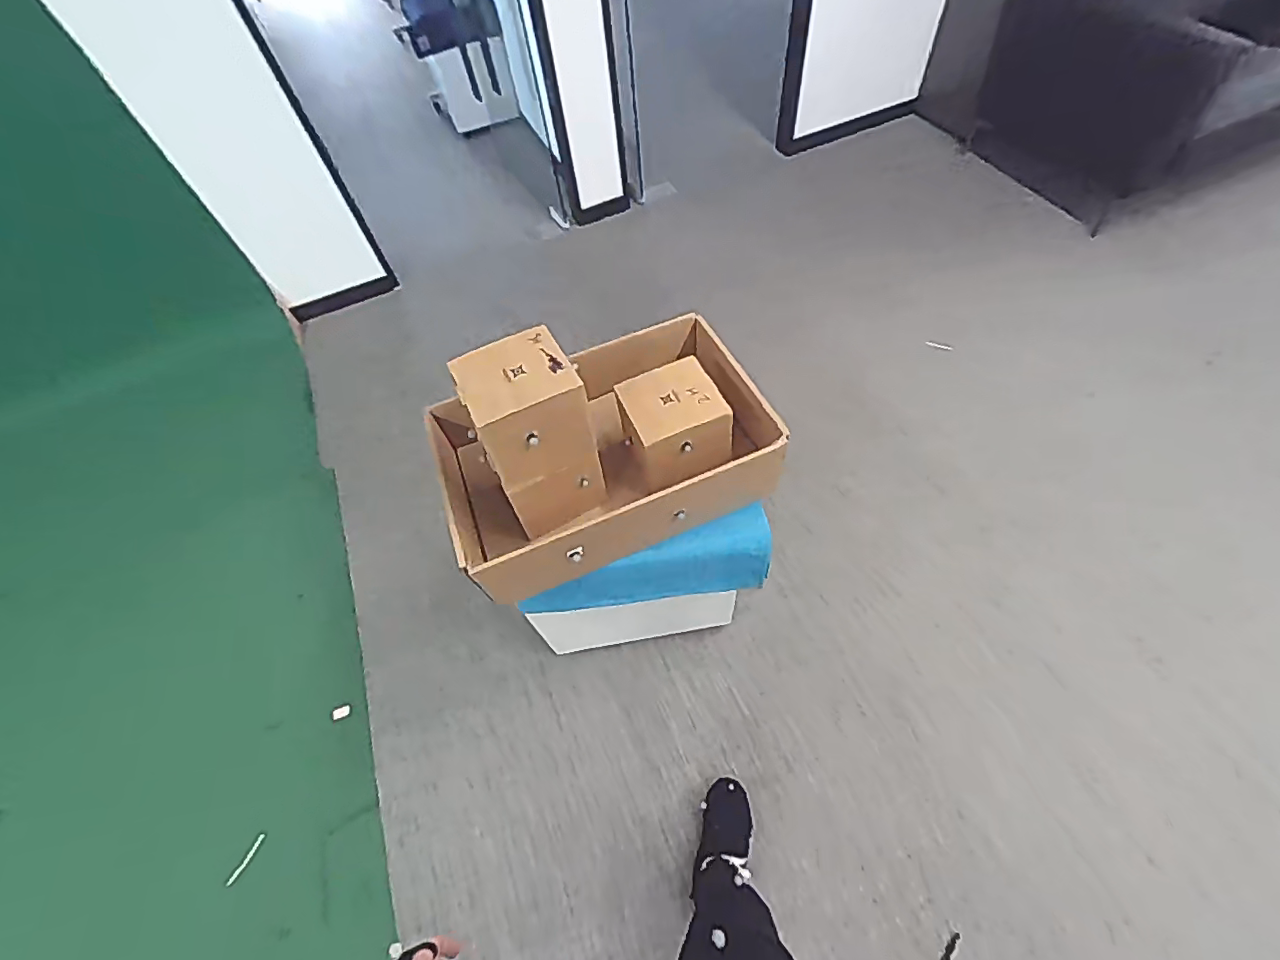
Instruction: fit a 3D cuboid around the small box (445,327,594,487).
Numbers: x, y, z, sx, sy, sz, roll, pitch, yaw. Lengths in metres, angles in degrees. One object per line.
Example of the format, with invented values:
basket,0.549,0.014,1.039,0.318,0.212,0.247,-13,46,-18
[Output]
small box,-0.195,-0.117,0.908,0.179,0.176,0.168,-26,58,-12
